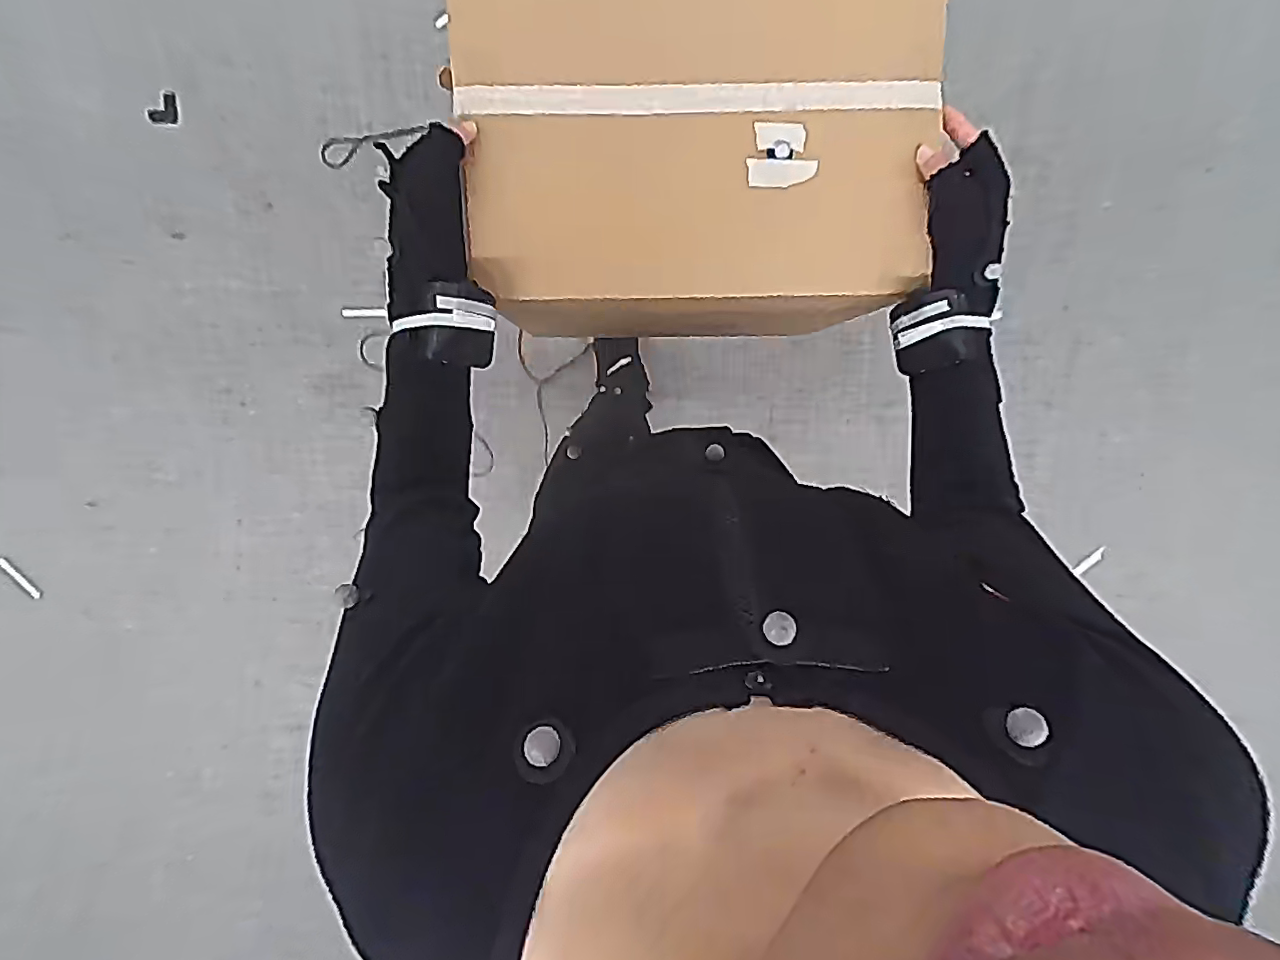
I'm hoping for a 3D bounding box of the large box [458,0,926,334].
[{"bbox_3d":[0.042,-0.348,0.615,0.408,0.320,0.320,-2,99,-2],"label":"large box"}]
